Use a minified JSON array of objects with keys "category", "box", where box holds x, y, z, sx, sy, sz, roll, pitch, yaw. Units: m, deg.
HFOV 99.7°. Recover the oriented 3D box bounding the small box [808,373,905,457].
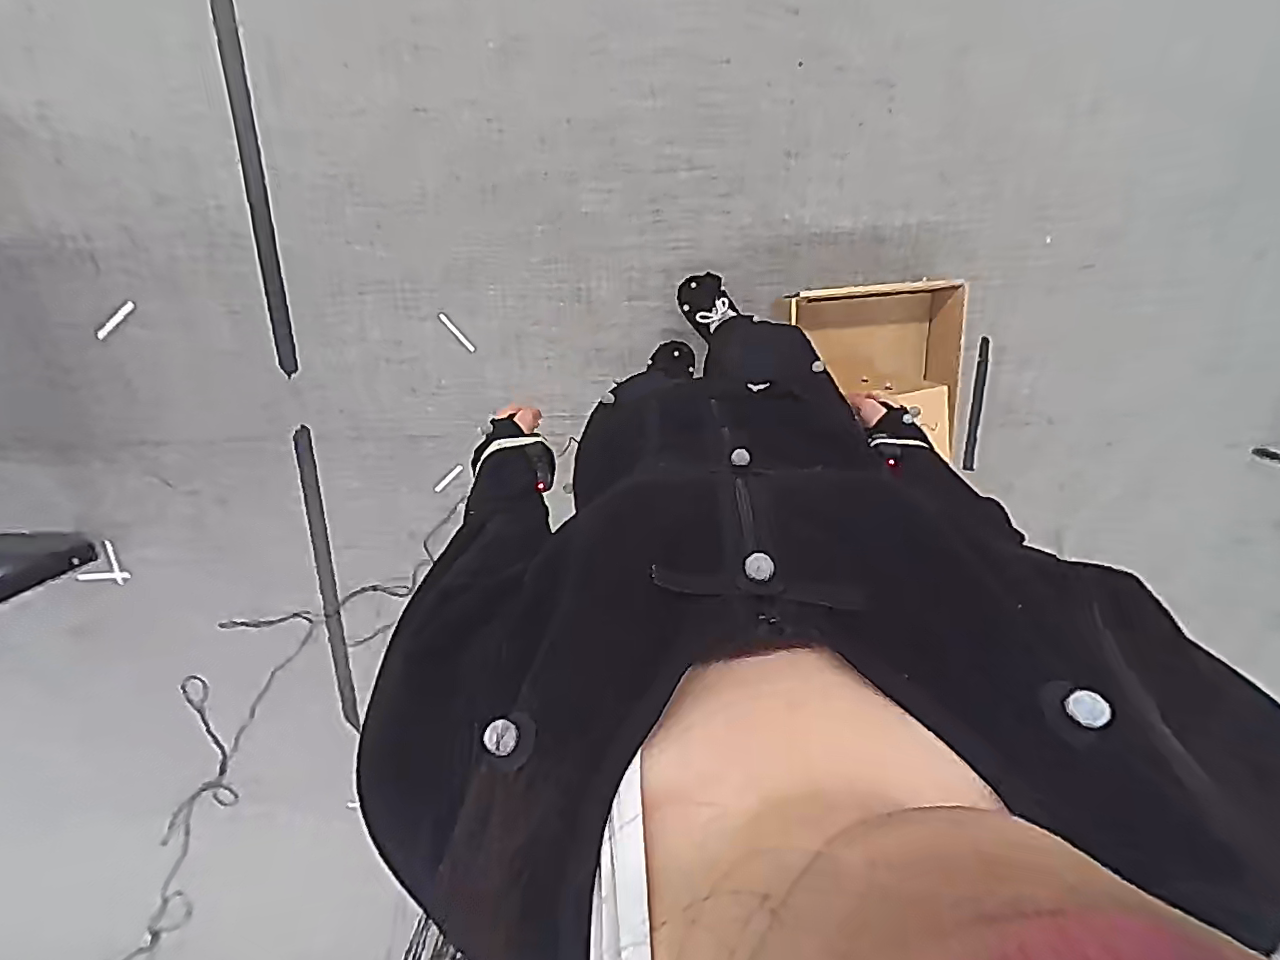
[{"category":"small box","box":[0.536,-0.168,1.353,0.179,0.176,0.168,-9,106,2]}]
